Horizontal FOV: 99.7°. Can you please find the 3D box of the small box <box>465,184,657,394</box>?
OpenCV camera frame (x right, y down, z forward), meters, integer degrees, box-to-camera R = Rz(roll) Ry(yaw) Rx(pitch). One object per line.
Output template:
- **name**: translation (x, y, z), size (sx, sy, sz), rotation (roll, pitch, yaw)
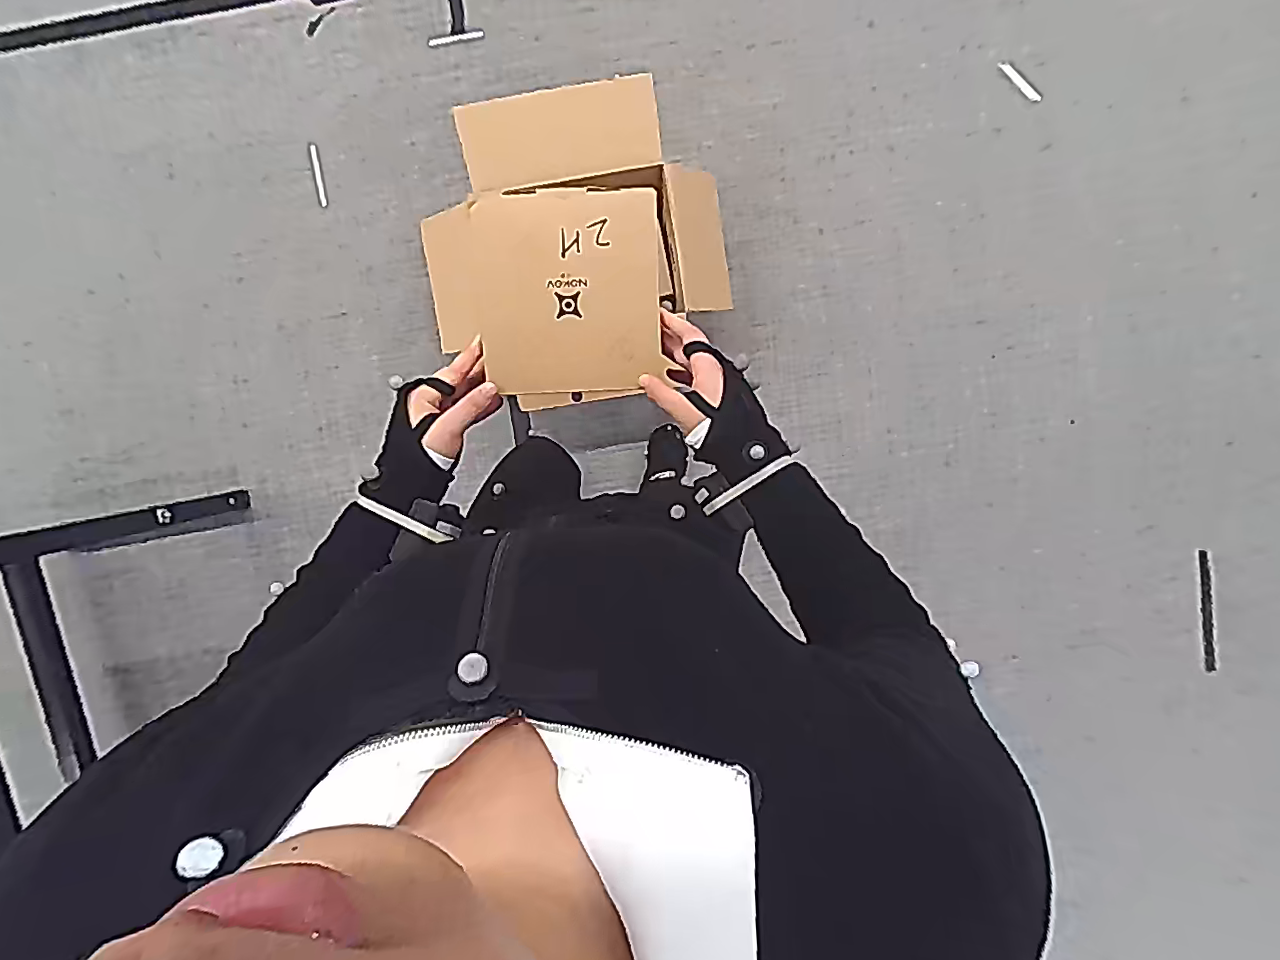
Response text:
- **small box**: translation (-0.069, -0.187, 0.563), size (0.168, 0.176, 0.179), rotation (-3, 103, -2)
